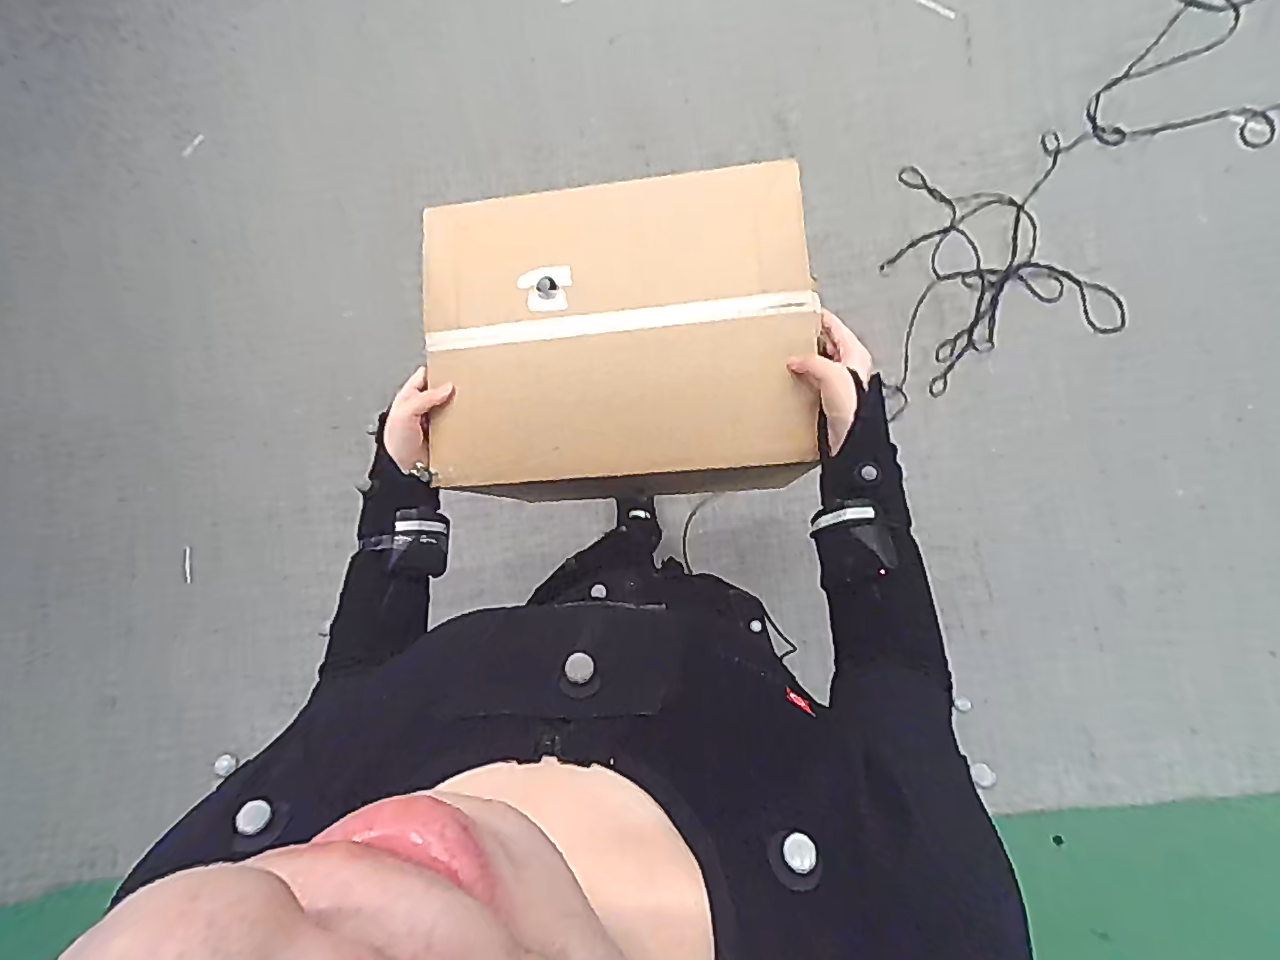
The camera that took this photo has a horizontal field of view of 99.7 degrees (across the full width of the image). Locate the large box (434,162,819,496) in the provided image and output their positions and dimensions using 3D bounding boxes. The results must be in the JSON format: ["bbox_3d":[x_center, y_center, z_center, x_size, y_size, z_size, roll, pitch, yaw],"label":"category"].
[{"bbox_3d":[-0.006,-0.151,0.719,0.408,0.320,0.320,-4,84,8],"label":"large box"}]
